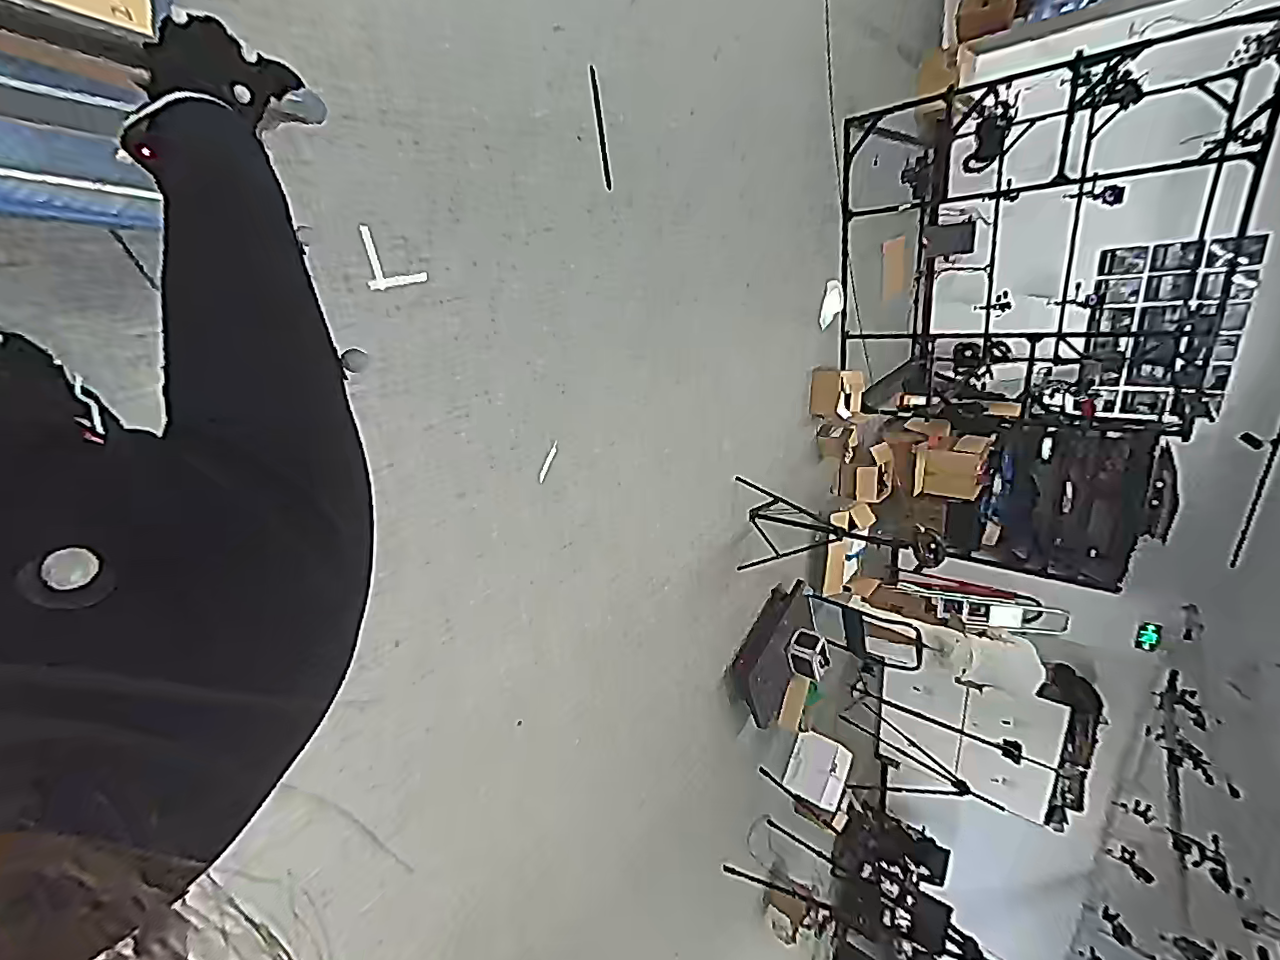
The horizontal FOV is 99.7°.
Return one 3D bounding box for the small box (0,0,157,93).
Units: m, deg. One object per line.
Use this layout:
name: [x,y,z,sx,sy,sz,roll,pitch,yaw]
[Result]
small box: [-0.861,-0.718,0.809,0.179,0.176,0.168,-12,108,-48]
